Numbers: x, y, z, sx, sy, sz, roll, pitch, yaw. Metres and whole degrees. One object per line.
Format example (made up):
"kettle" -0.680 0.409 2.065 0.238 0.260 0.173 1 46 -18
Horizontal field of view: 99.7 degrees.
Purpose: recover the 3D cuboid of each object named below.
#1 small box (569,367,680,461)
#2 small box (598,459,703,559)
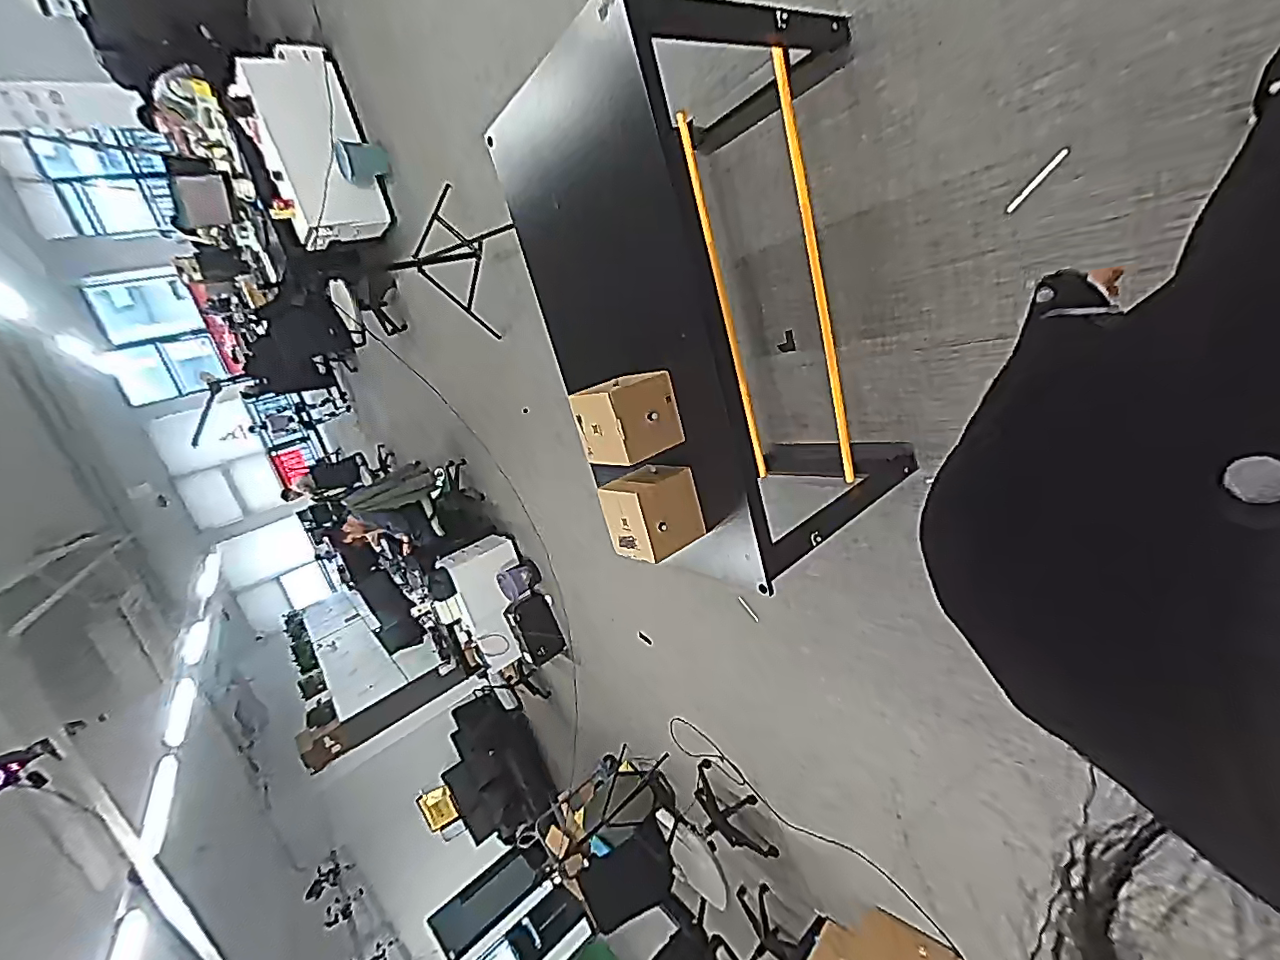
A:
"small box" -0.028 -0.152 1.233 0.179 0.176 0.168 7 118 52
"small box" 0.030 0.064 1.301 0.168 0.176 0.179 6 116 53
